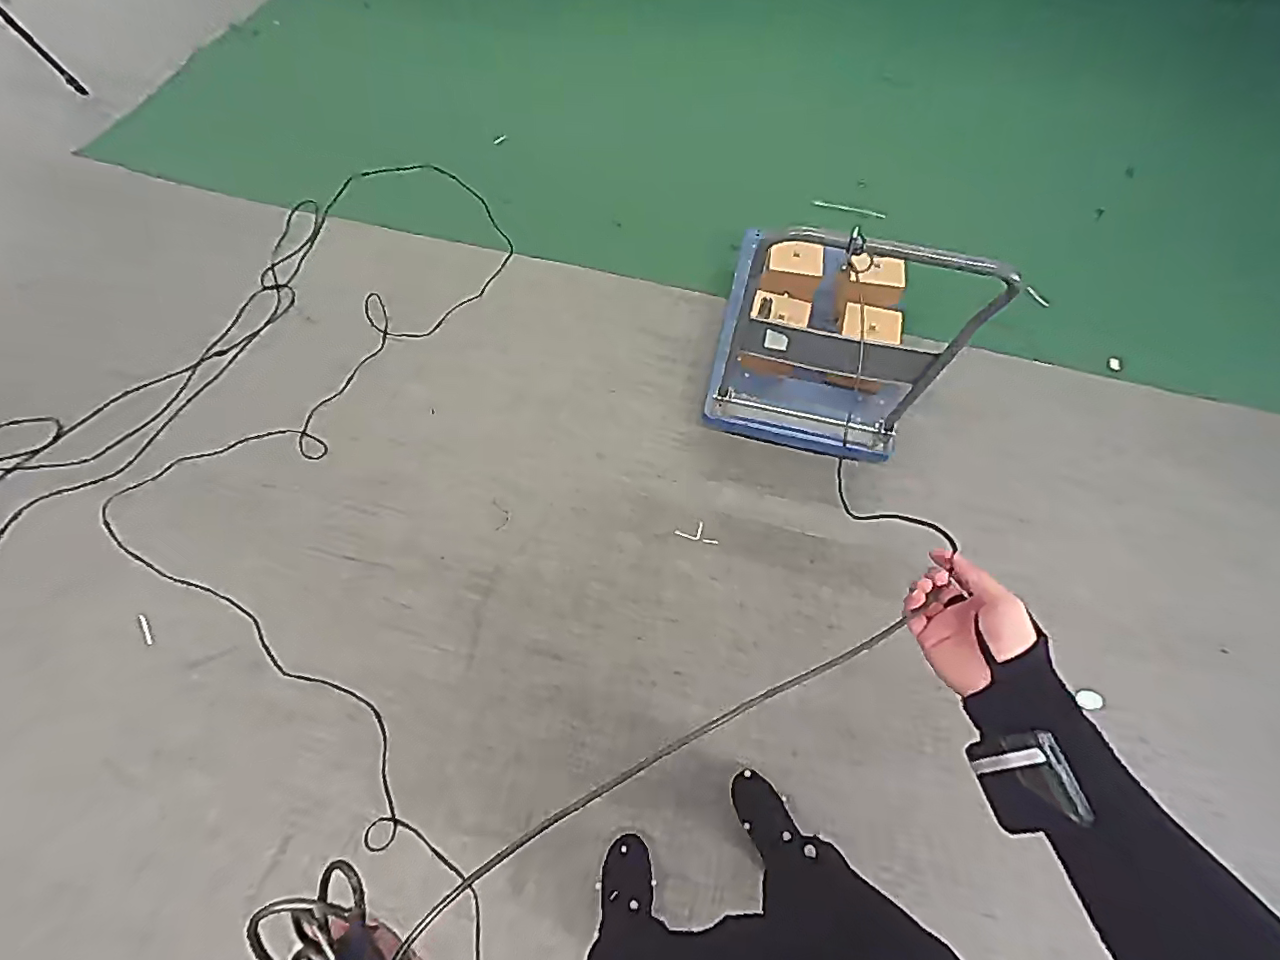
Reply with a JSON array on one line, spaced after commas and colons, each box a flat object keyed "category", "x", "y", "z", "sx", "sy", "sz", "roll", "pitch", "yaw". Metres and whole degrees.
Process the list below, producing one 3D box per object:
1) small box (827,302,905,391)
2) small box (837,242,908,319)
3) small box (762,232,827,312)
[{"category": "small box", "x": 0.683, "y": -0.403, "z": 1.645, "sx": 0.168, "sy": 0.176, "sz": 0.179, "roll": 14, "pitch": 65, "yaw": 6}, {"category": "small box", "x": 0.752, "y": -0.637, "z": 1.760, "sx": 0.168, "sy": 0.176, "sz": 0.179, "roll": 10, "pitch": 65, "yaw": 5}, {"category": "small box", "x": 0.505, "y": -0.680, "z": 1.780, "sx": 0.168, "sy": 0.176, "sz": 0.179, "roll": 11, "pitch": 64, "yaw": 4}]
